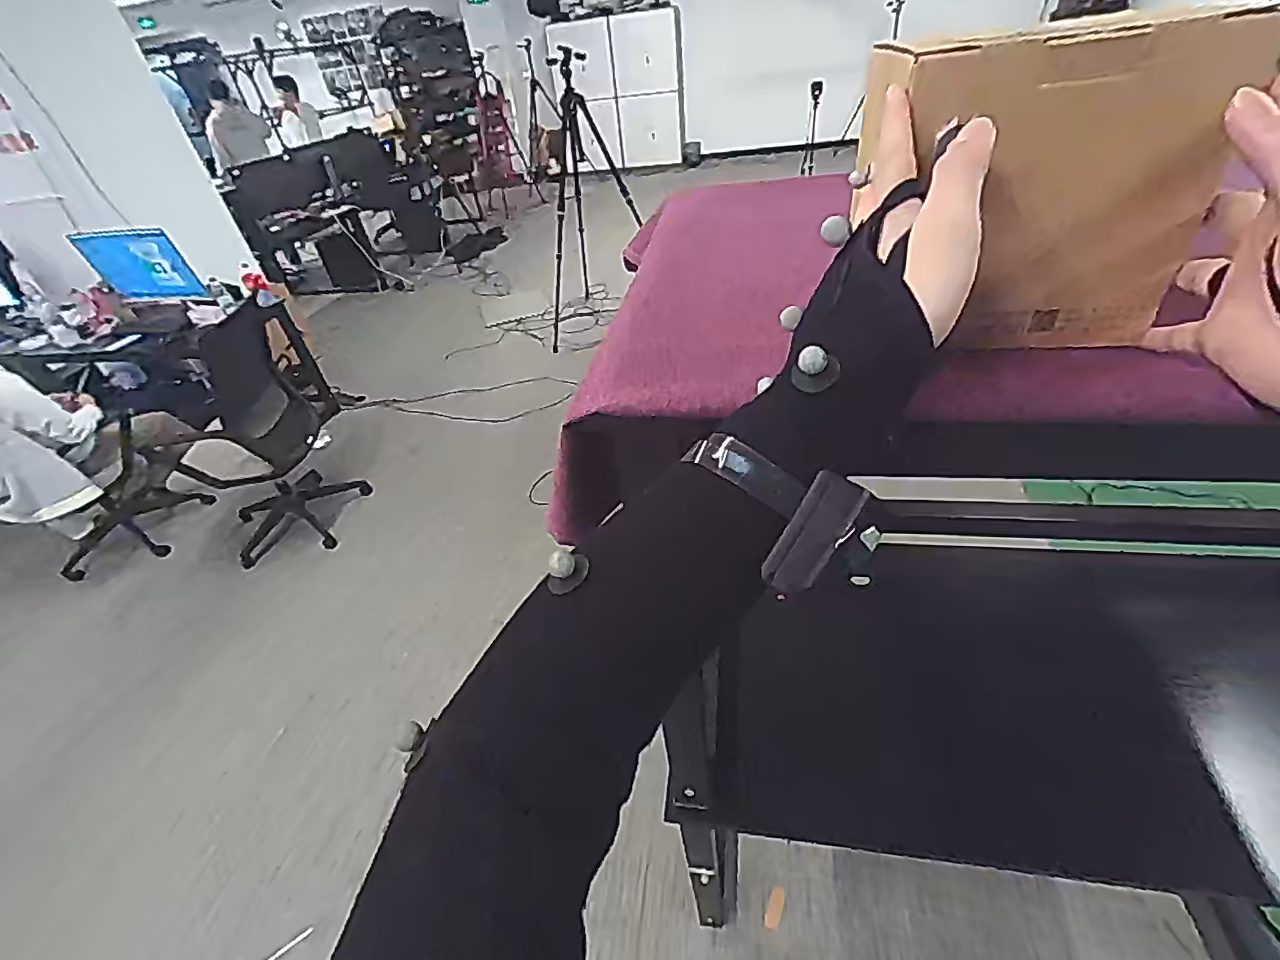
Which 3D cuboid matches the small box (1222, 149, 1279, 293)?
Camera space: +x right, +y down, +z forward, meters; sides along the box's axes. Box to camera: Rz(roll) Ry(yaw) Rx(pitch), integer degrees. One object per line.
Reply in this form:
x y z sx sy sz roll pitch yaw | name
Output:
0.524 -0.193 0.313 0.179 0.176 0.168 4 40 16 | small box
